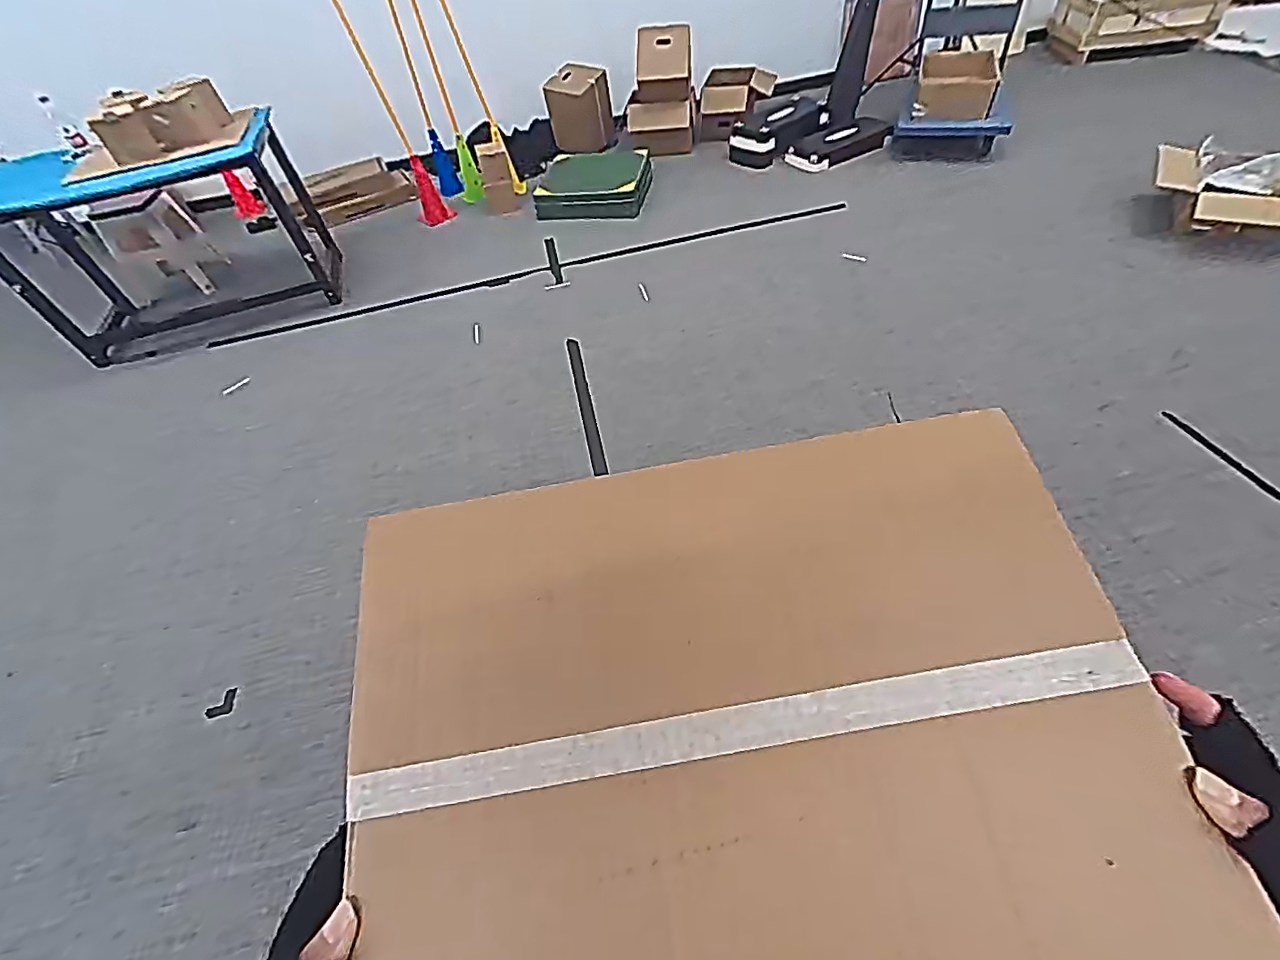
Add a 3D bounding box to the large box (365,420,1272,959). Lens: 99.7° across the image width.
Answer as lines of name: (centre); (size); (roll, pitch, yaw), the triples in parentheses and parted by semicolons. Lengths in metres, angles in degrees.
large box: (0.065, 0.196, 0.418); (0.408, 0.320, 0.320); (-10, 65, 1)
